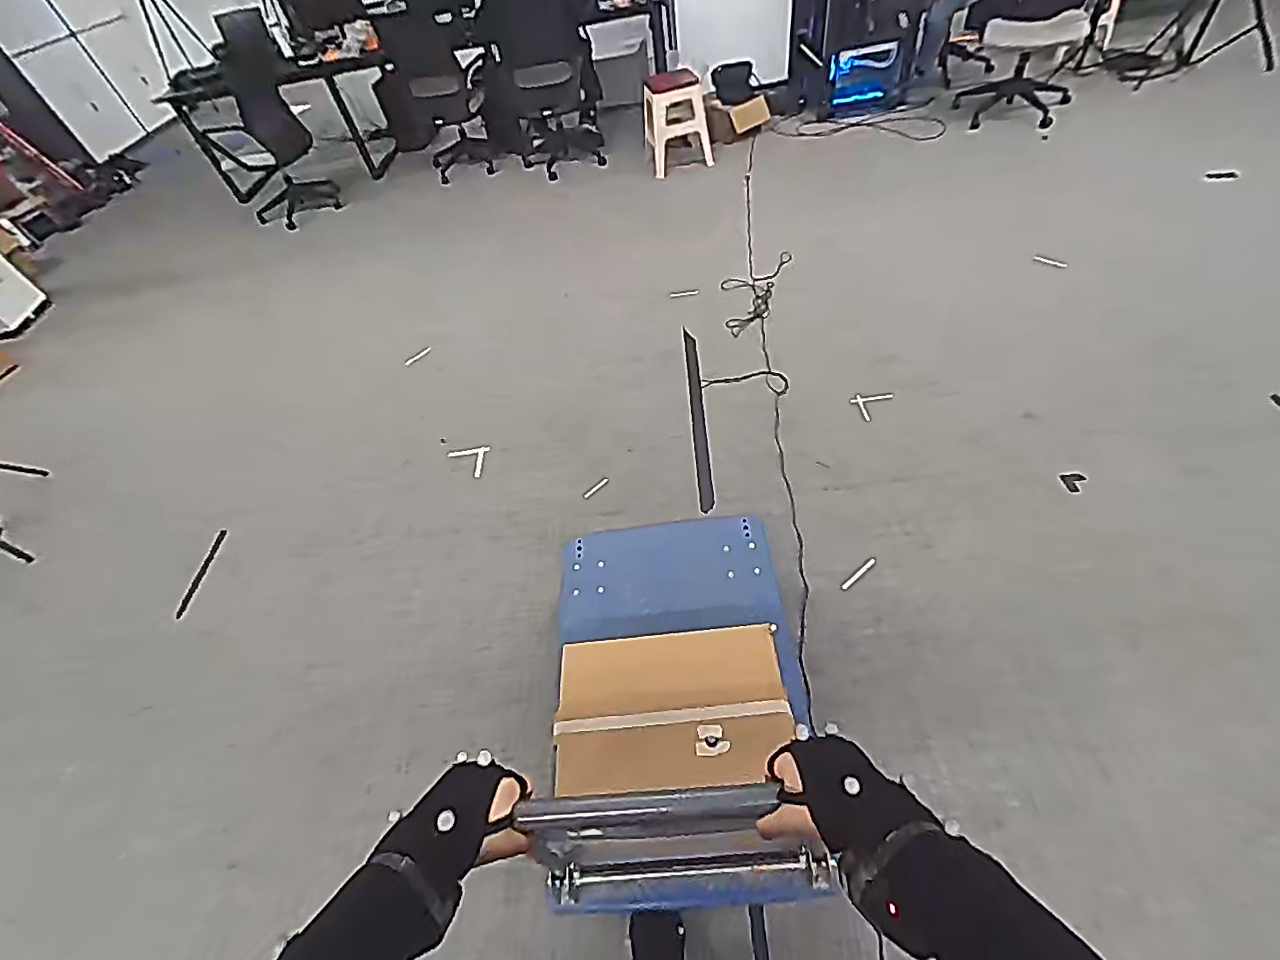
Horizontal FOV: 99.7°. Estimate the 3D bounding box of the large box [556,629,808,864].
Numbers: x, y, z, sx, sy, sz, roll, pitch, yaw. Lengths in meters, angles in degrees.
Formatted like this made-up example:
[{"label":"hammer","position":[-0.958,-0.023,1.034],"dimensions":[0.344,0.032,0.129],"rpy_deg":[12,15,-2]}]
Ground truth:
[{"label":"large box","position":[0.072,0.519,1.043],"dimensions":[0.408,0.320,0.320],"rpy_deg":[-7,49,4]}]
